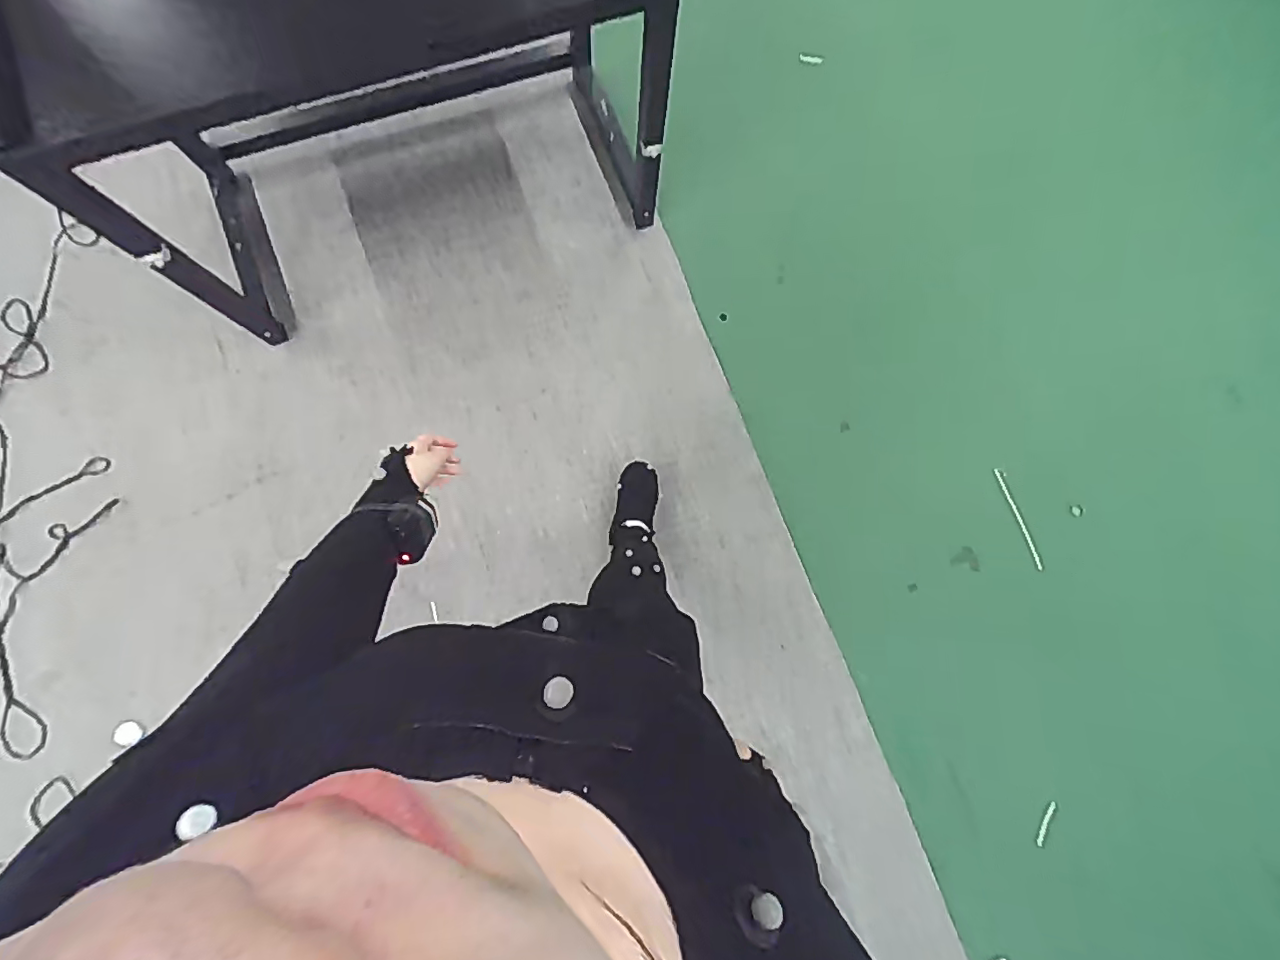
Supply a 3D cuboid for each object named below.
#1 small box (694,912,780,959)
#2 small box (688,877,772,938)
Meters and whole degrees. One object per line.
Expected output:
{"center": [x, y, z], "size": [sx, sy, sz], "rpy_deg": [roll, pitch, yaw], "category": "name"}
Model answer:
{"center": [0.226, 1.065, 1.125], "size": [0.168, 0.176, 0.179], "rpy_deg": [-19, 82, -7], "category": "small box"}
{"center": [0.221, 1.090, 1.286], "size": [0.168, 0.176, 0.179], "rpy_deg": [-16, 81, -5], "category": "small box"}
